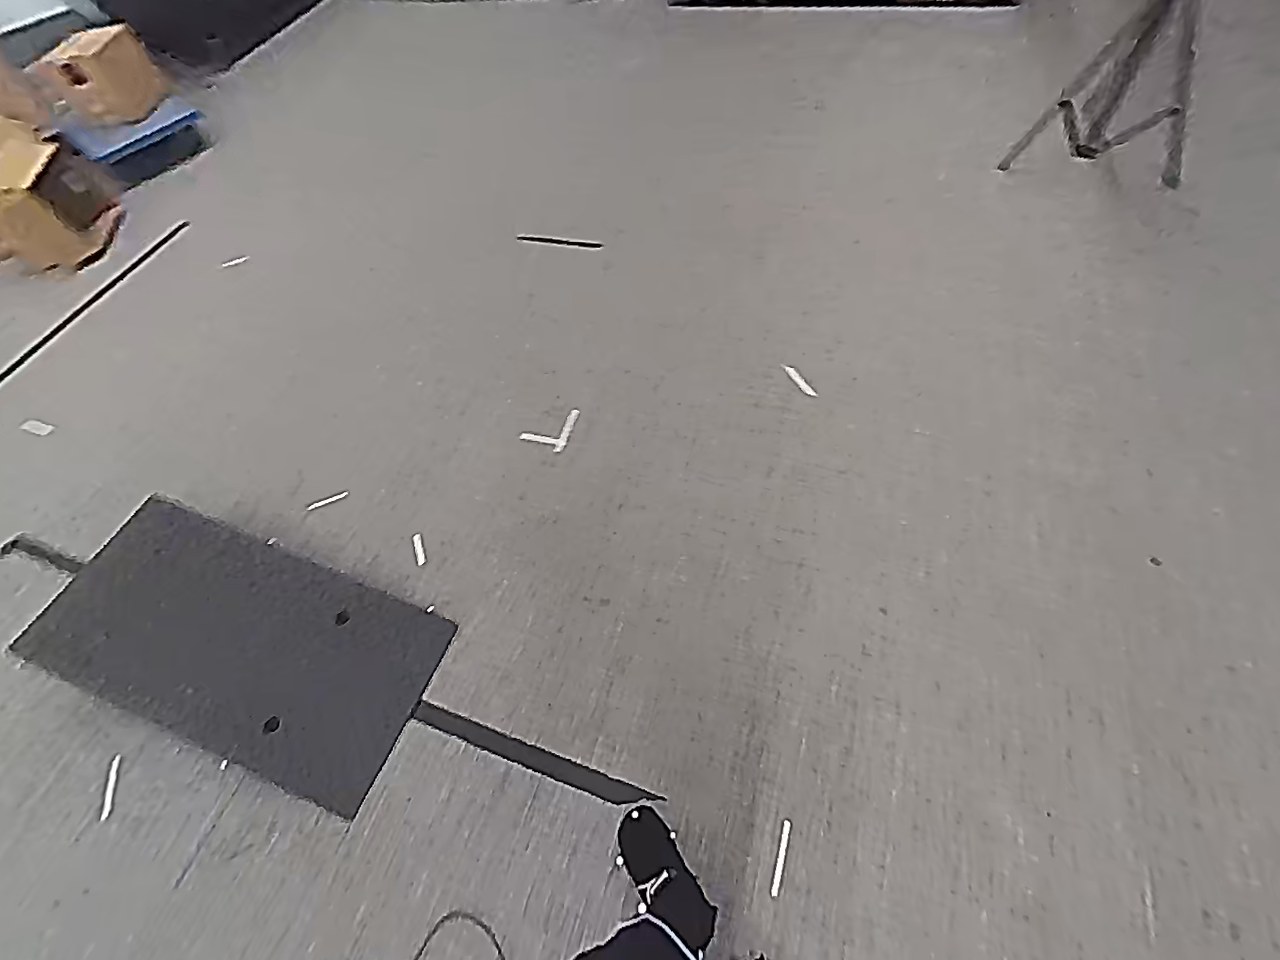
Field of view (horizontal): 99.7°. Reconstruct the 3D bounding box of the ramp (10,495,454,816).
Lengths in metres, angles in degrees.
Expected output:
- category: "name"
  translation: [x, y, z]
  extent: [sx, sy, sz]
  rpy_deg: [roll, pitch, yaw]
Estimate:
- category: "ramp"
  translation: [-1.047, 0.414, 1.425]
  extent: [0.991, 0.206, 0.509]
  rpy_deg: [15, 60, 15]
